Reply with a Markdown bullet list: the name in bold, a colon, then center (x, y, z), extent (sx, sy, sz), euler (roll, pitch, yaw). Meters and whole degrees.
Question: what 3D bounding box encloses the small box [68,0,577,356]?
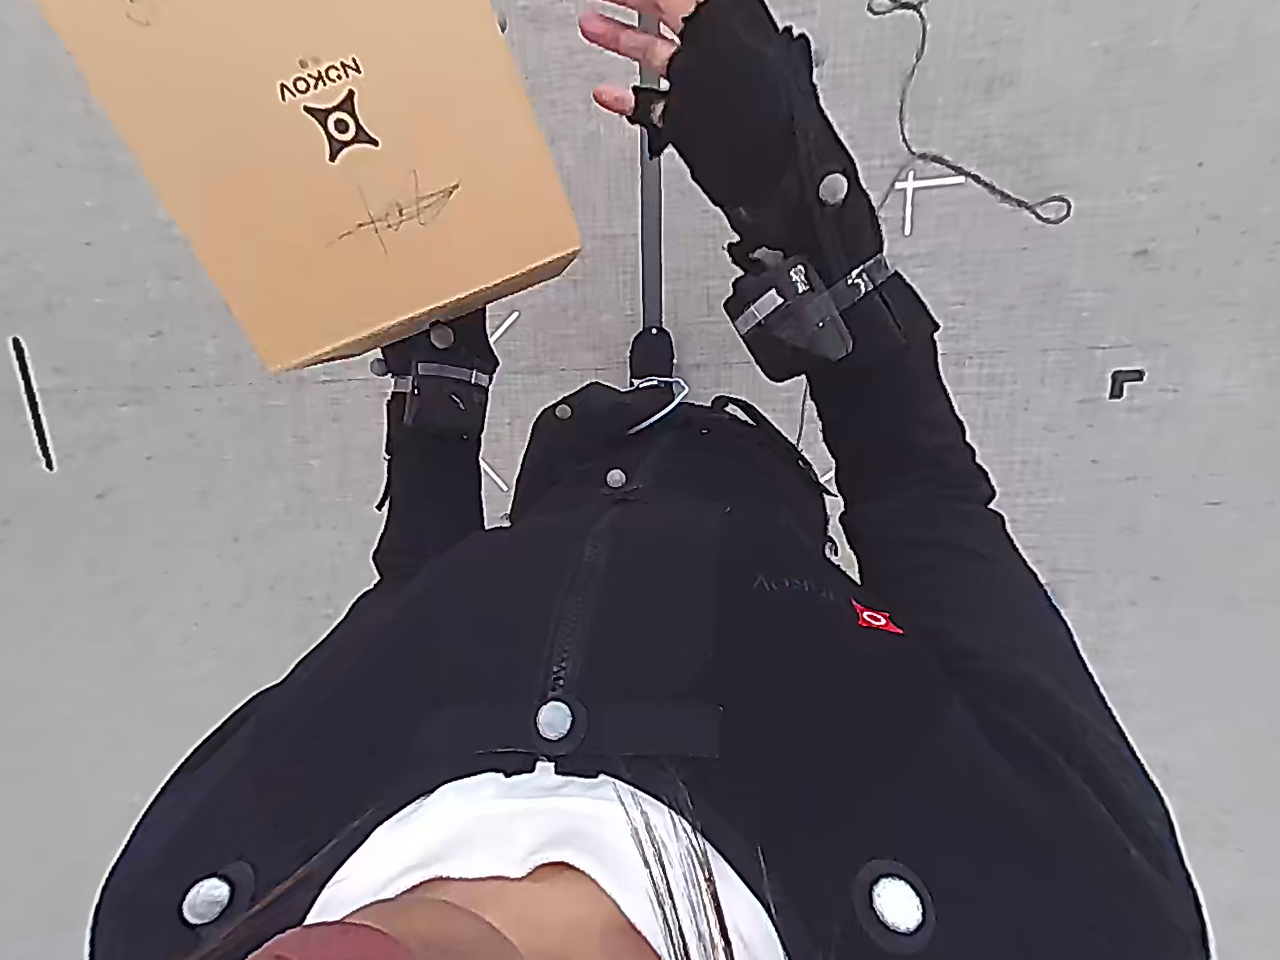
- **small box**: center (-0.153, -0.188, 0.327), extent (0.168, 0.176, 0.179), euler (-24, 110, -4)
